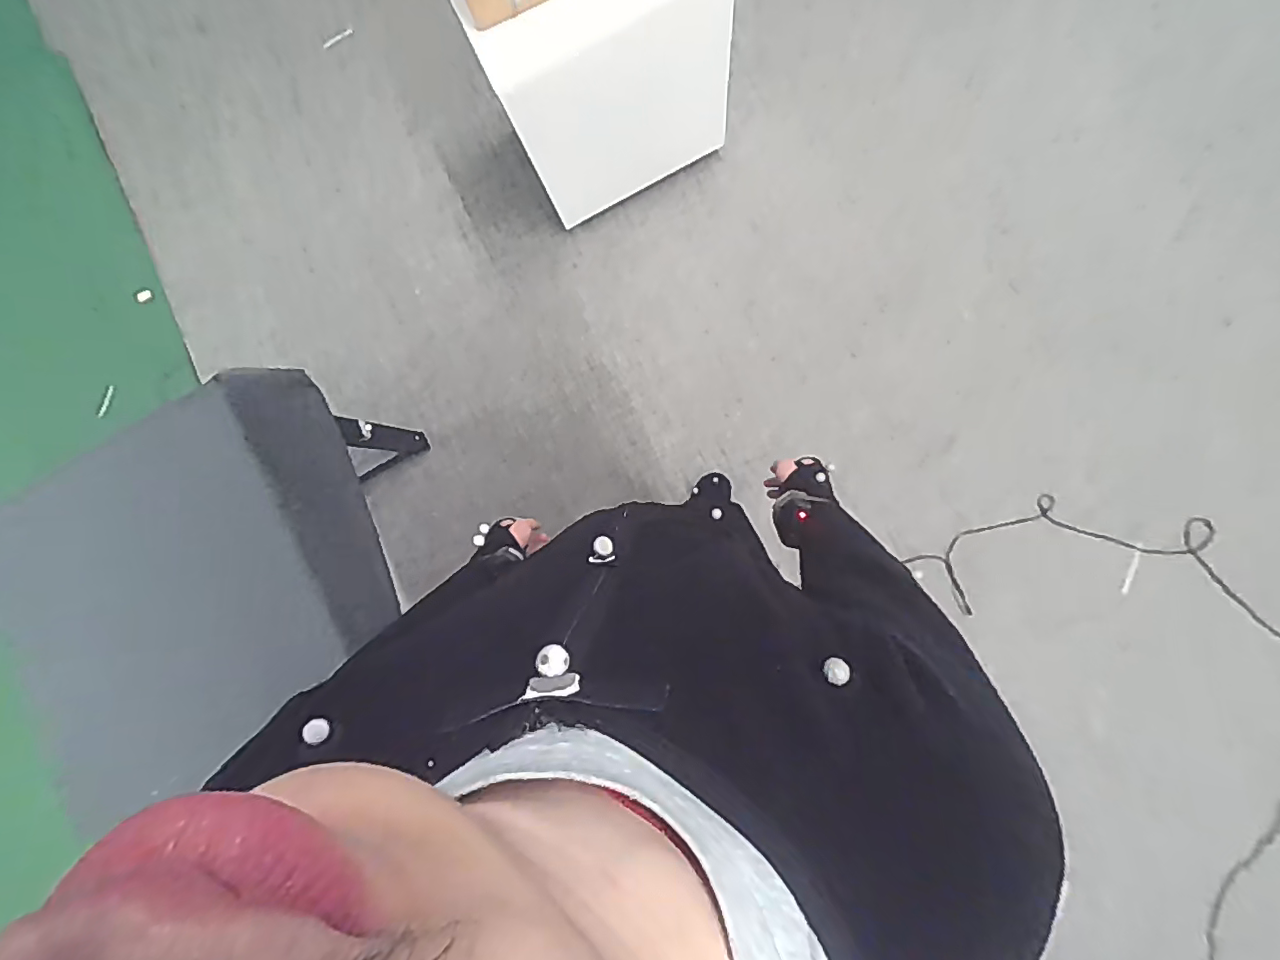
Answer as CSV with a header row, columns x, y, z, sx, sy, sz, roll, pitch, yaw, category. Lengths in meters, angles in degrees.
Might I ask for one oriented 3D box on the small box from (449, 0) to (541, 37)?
x,y,z,sx,sy,sz,roll,pitch,yaw,category
-0.278,-0.932,0.933,0.179,0.176,0.168,-23,86,2,small box
